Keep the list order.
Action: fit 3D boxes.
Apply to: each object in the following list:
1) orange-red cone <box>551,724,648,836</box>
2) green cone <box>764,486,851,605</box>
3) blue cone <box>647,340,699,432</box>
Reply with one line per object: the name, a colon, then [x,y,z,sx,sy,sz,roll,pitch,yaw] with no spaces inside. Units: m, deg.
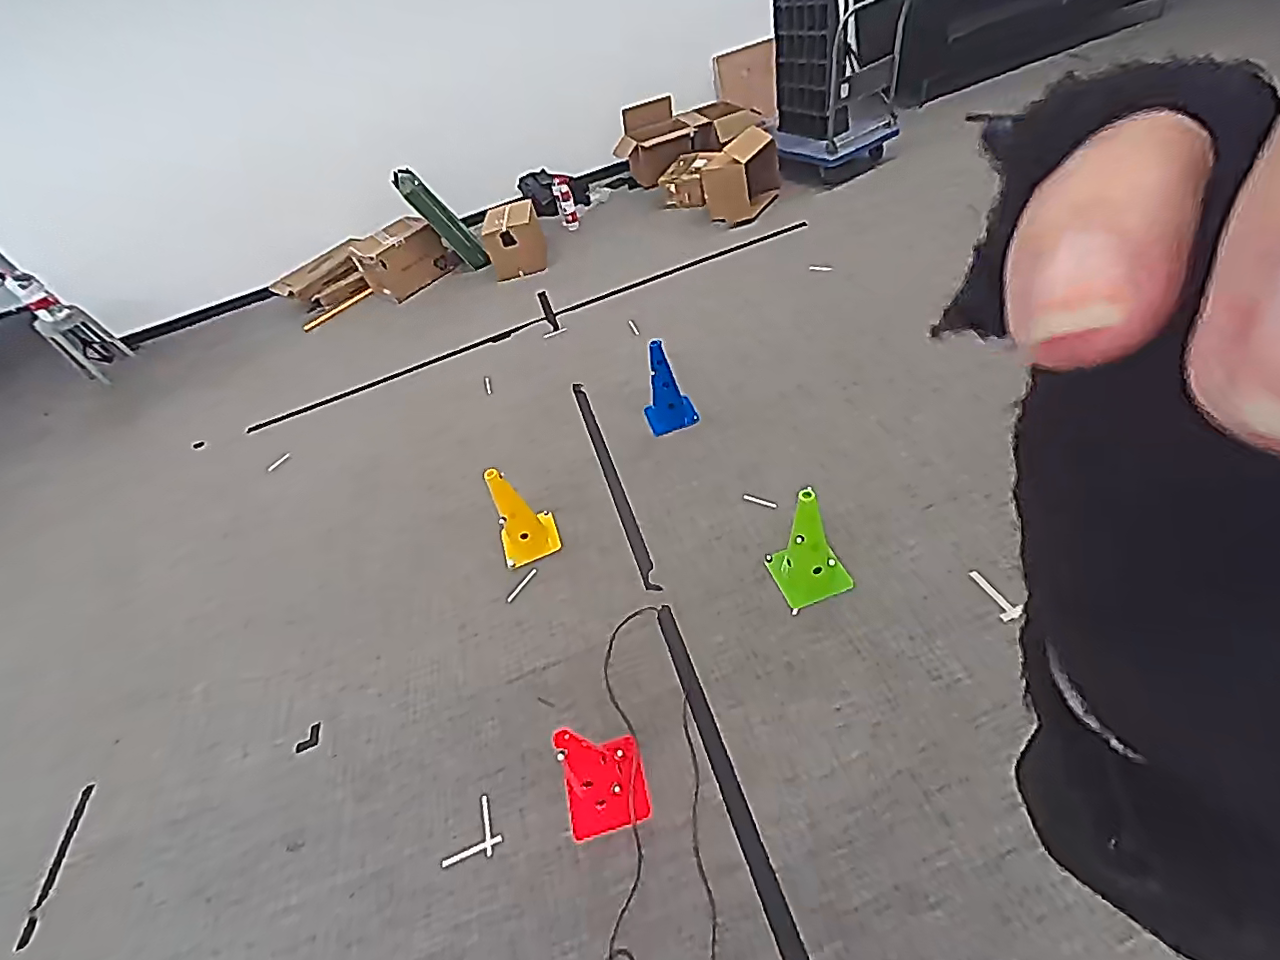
orange-red cone: [-0.127,0.640,1.228,0.199,0.360,0.198,-19,44,1]
green cone: [0.465,0.154,1.504,0.202,0.368,0.200,-20,45,-4]
blue cone: [0.100,-0.388,2.150,0.192,0.380,0.193,-18,45,-1]
